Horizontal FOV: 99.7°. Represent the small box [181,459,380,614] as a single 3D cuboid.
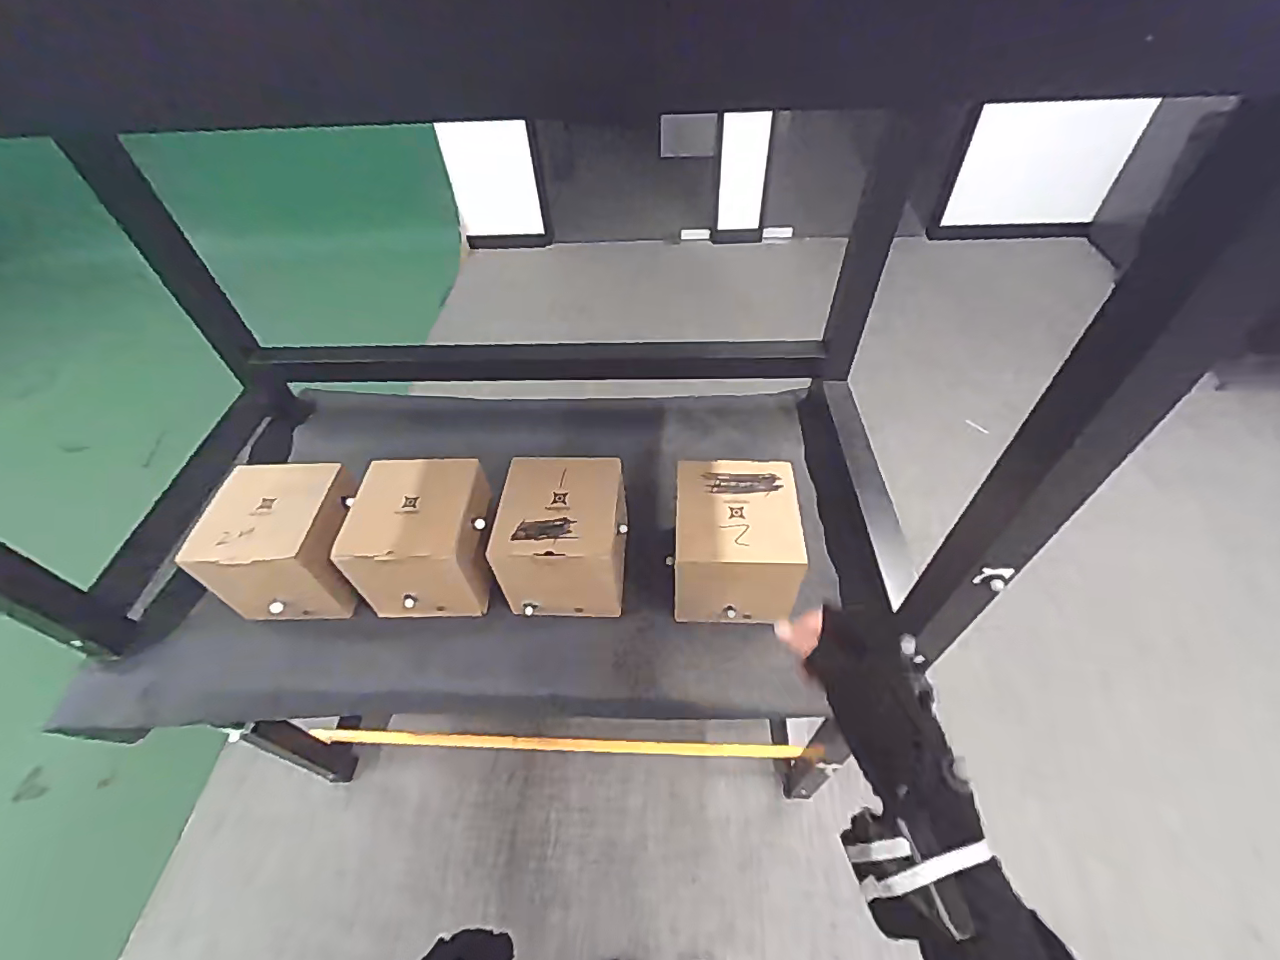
[{"bbox_3d":[-0.525,0.087,0.826,0.168,0.176,0.179,-1,49,2],"label":"small box"}]
